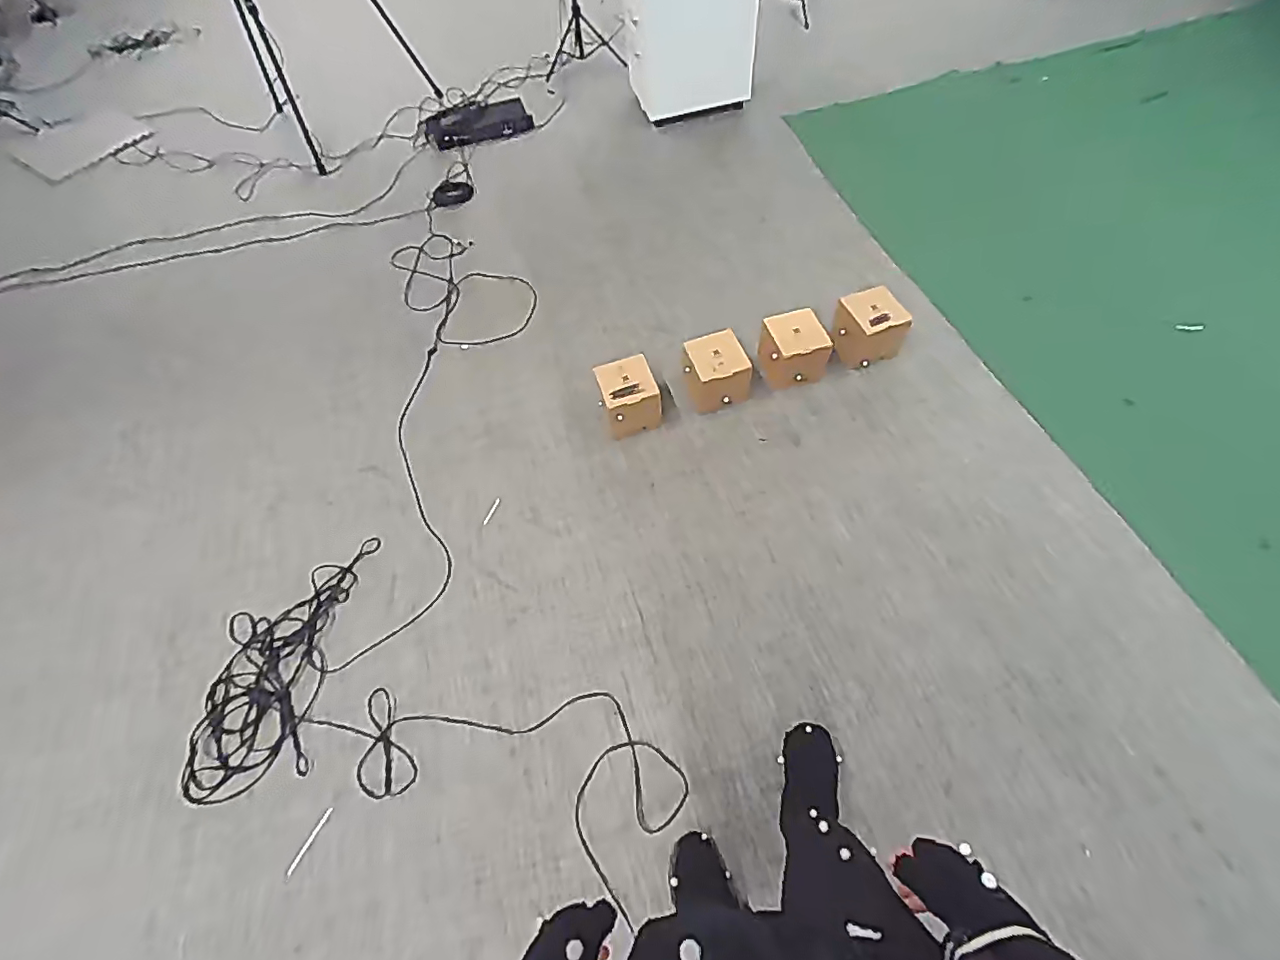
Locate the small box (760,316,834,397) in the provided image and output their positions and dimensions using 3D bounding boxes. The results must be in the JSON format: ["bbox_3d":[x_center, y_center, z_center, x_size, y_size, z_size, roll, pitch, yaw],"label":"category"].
[{"bbox_3d":[0.505,-0.402,1.770,0.168,0.176,0.179,-15,60,-5],"label":"small box"}]

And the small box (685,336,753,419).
[{"bbox_3d":[0.249,-0.326,1.741,0.168,0.176,0.179,-18,60,-5],"label":"small box"}]

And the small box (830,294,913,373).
[{"bbox_3d":[0.761,-0.479,1.796,0.168,0.176,0.179,-18,59,-7],"label":"small box"}]
